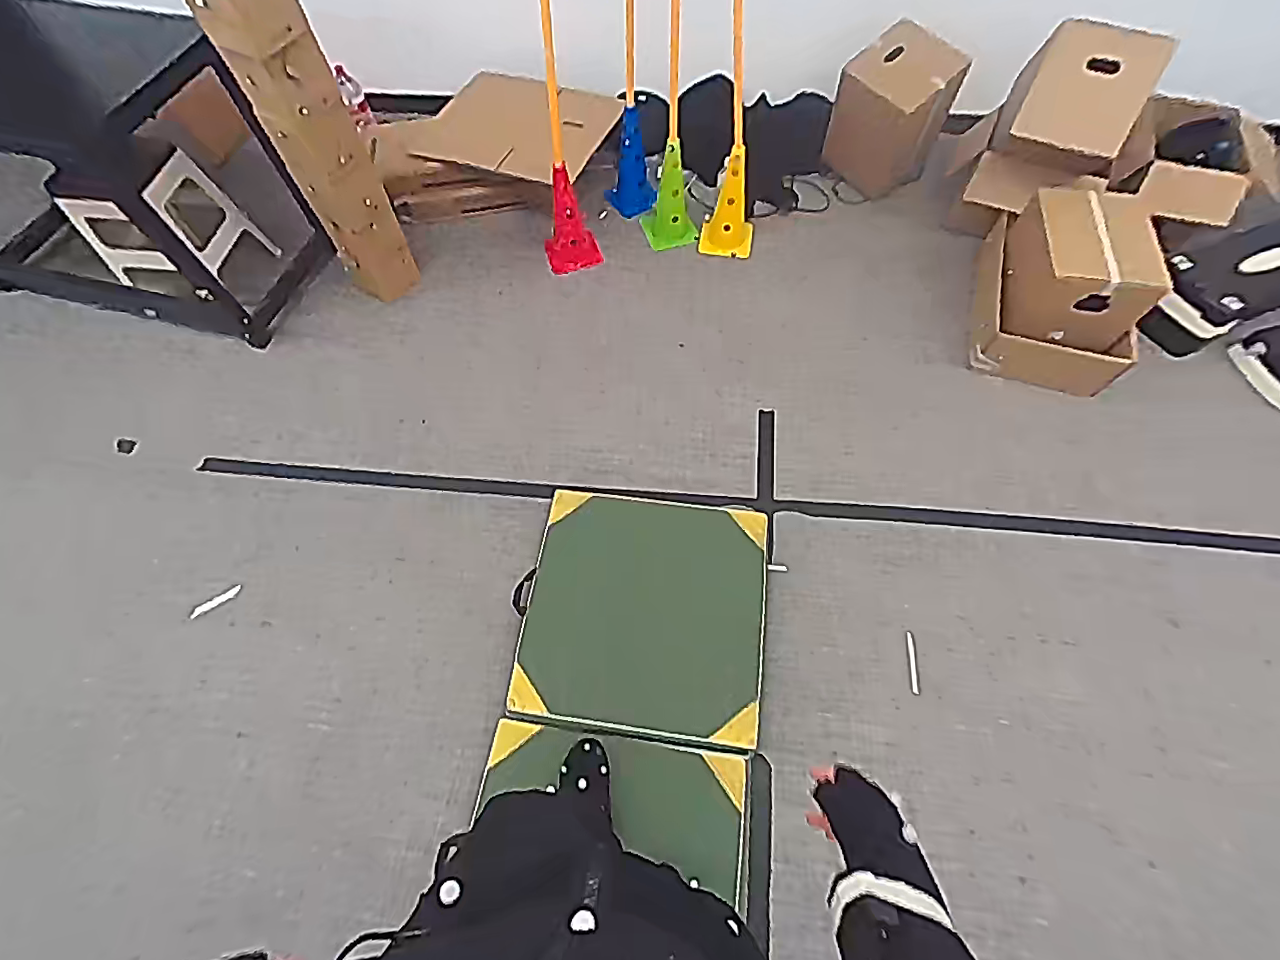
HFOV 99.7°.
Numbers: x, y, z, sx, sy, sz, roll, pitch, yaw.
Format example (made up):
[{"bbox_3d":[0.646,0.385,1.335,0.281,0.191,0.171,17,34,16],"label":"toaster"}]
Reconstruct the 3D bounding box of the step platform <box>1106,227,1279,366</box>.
[{"bbox_3d":[2.028,-0.642,1.870,0.684,0.204,0.286,-20,64,-9],"label":"step platform"}]
